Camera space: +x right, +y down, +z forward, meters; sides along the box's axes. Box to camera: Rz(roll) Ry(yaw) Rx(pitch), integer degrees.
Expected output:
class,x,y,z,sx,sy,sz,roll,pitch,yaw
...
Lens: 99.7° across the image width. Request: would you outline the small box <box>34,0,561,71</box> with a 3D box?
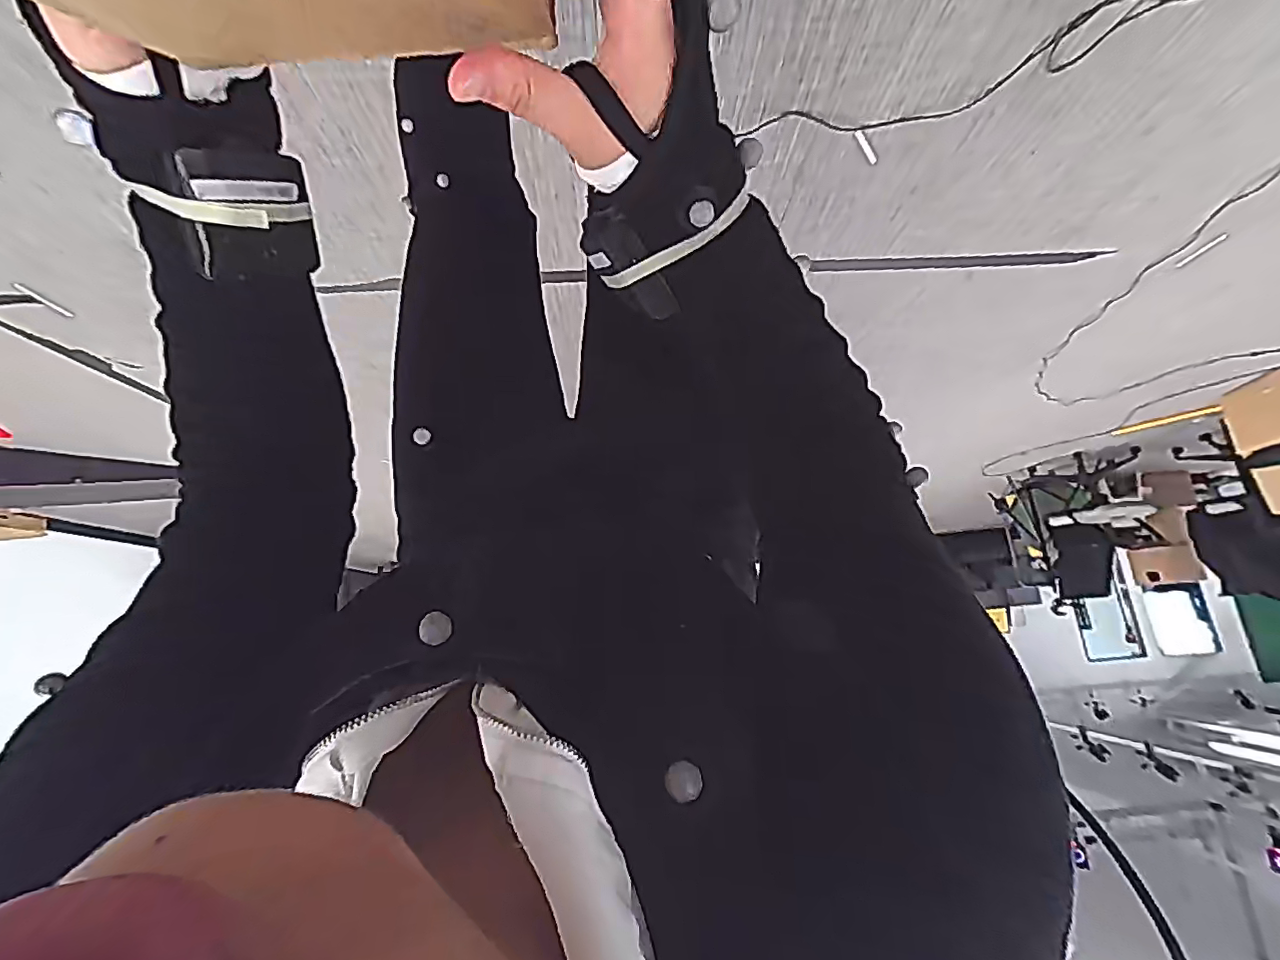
class,x,y,z,sx,sy,sz,roll,pitch,yaw
small box,-0.117,-0.230,0.127,0.168,0.176,0.179,-4,-160,1
